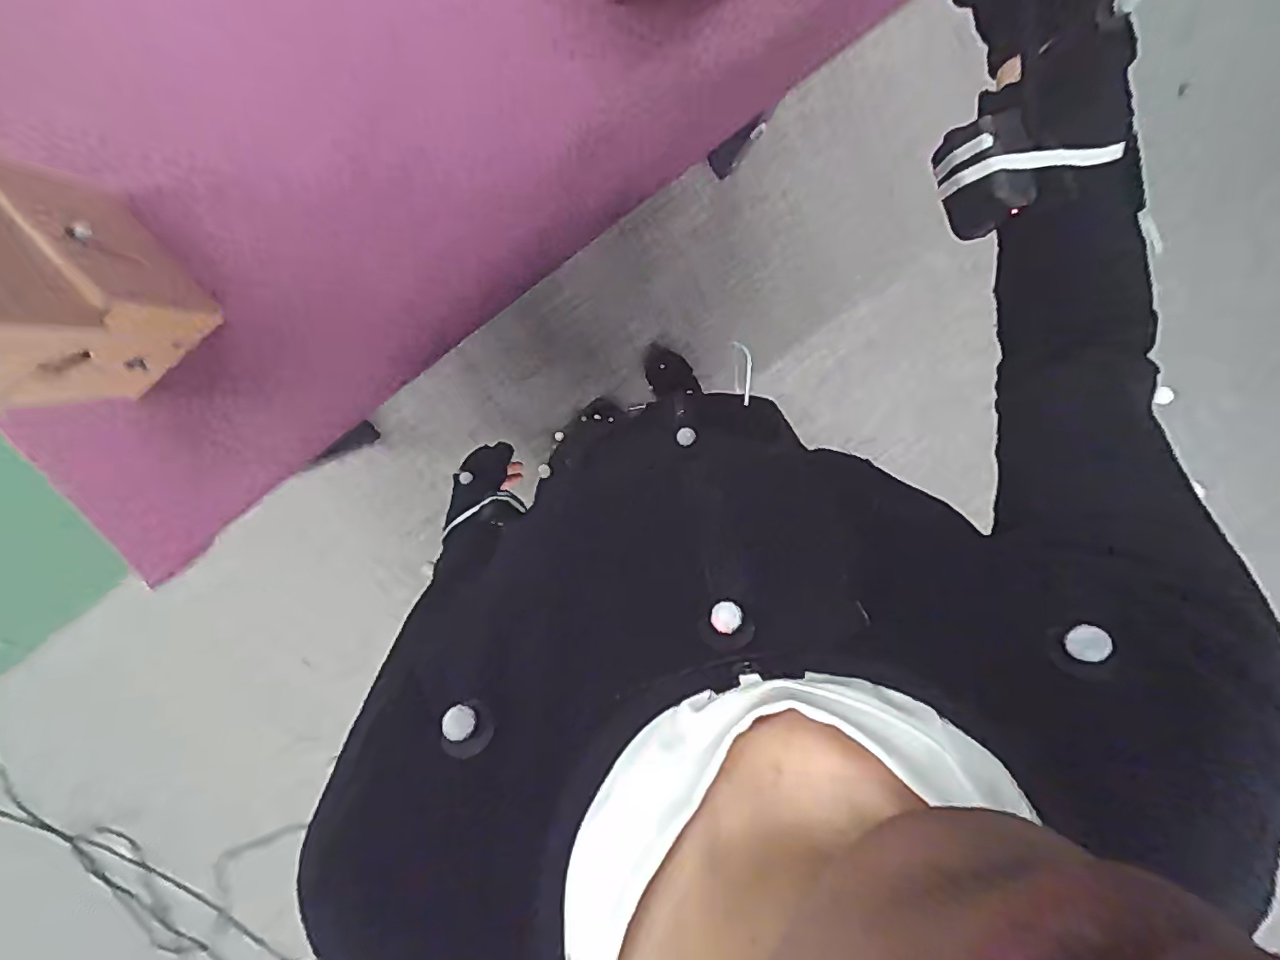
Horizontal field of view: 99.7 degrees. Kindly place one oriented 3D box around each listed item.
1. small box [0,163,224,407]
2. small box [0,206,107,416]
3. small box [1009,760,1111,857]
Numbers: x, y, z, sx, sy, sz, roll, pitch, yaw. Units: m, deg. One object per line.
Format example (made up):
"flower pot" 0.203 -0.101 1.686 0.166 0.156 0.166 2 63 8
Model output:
"small box" -0.620 -0.197 0.583 0.168 0.176 0.179 -38 103 5
"small box" -0.608 -0.142 0.428 0.168 0.176 0.179 -34 103 4
"small box" 1.355 1.057 1.752 0.168 0.176 0.179 -34 103 4
